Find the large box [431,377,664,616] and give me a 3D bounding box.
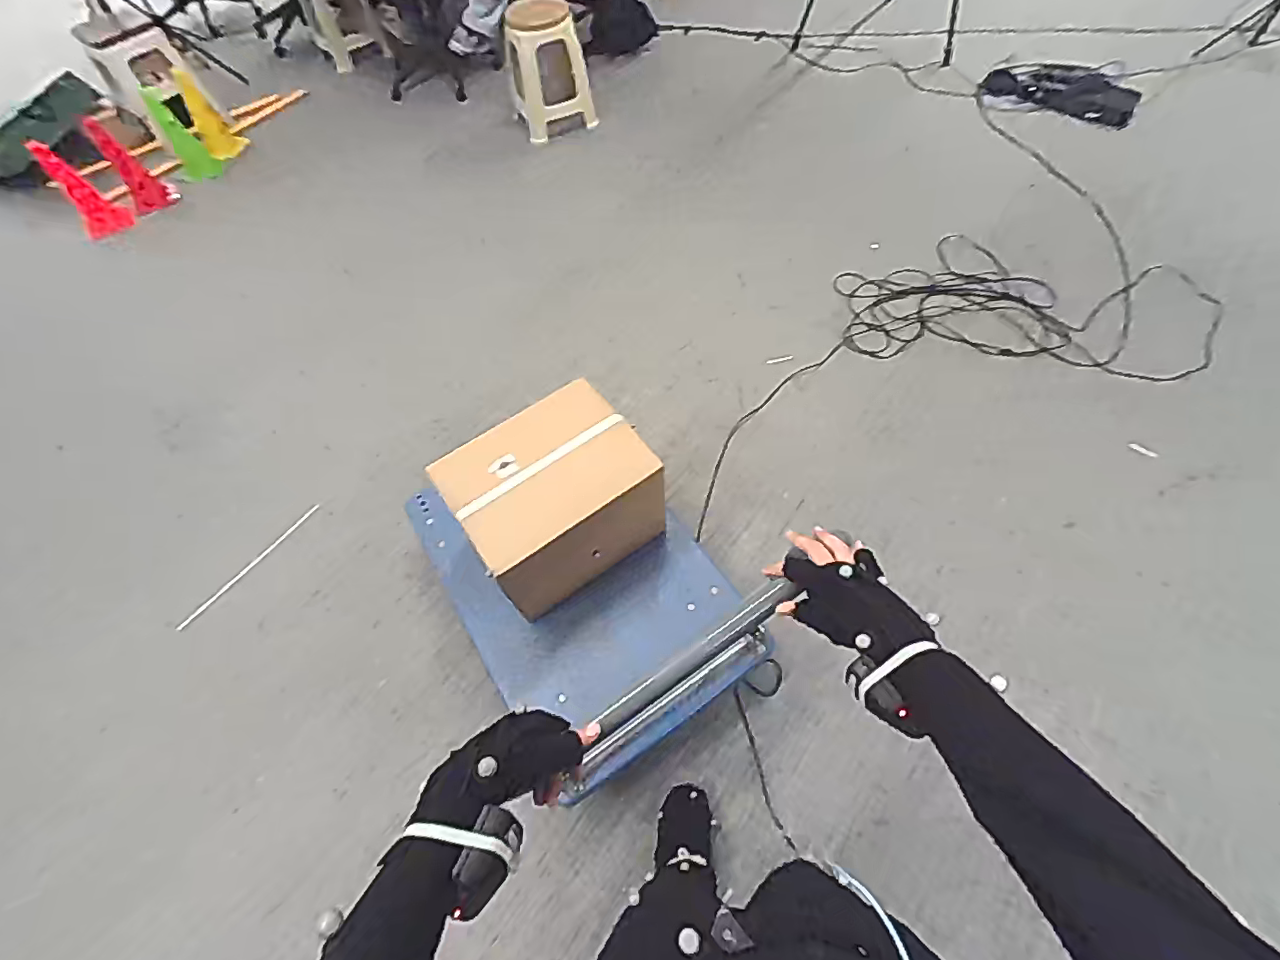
[{"bbox_3d":[-0.190,0.044,1.266,0.408,0.320,0.320,-36,64,-15],"label":"large box"}]
